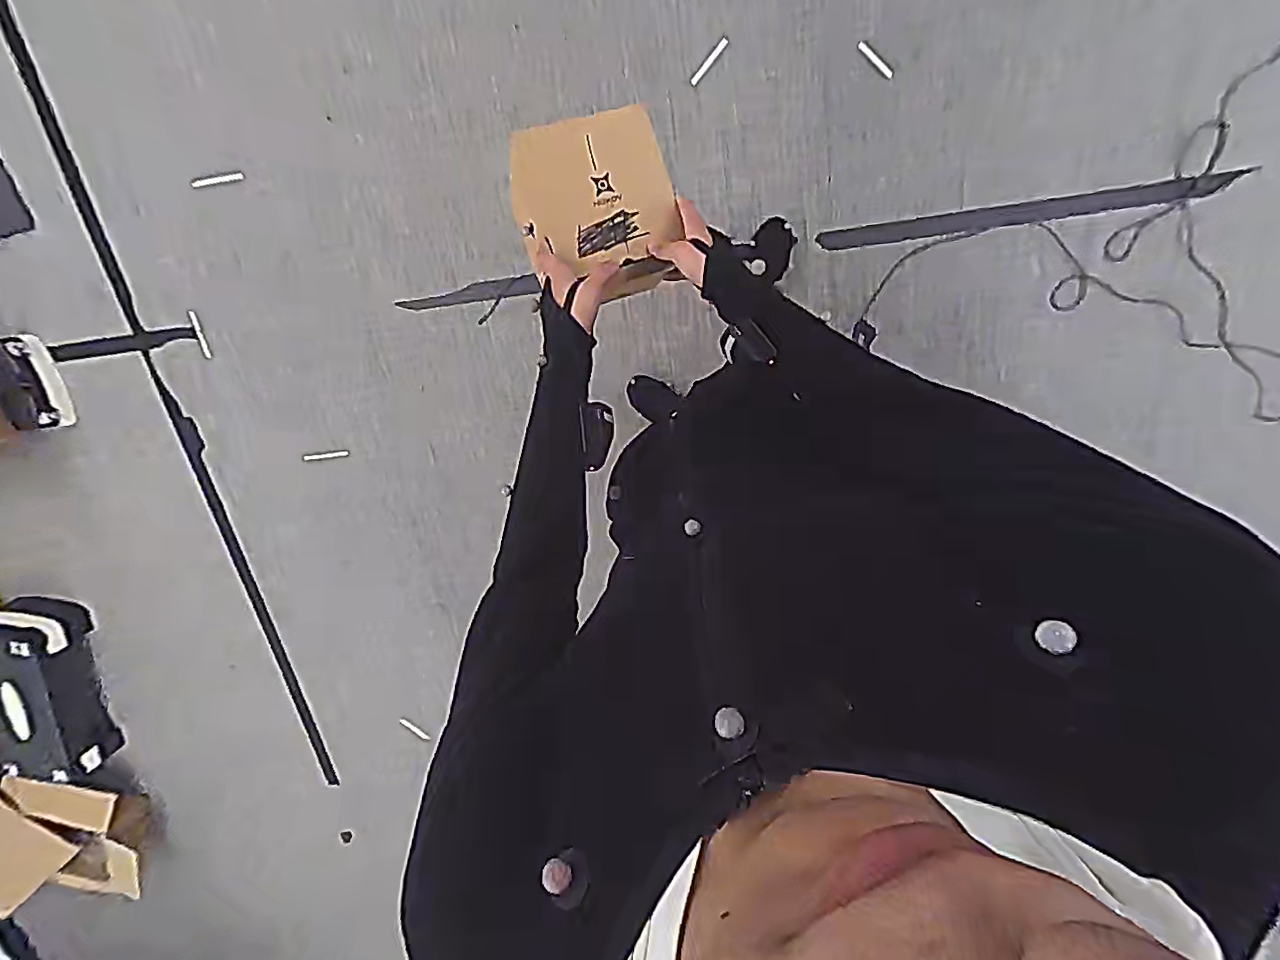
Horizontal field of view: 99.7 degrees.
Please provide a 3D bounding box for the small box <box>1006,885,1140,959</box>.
[{"bbox_3d":[0.851,0.941,1.058,0.168,0.176,0.179,-4,108,6],"label":"small box"}]

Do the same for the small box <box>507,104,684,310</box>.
[{"bbox_3d":[-0.064,-0.337,0.705,0.168,0.176,0.179,-22,97,-12],"label":"small box"}]
